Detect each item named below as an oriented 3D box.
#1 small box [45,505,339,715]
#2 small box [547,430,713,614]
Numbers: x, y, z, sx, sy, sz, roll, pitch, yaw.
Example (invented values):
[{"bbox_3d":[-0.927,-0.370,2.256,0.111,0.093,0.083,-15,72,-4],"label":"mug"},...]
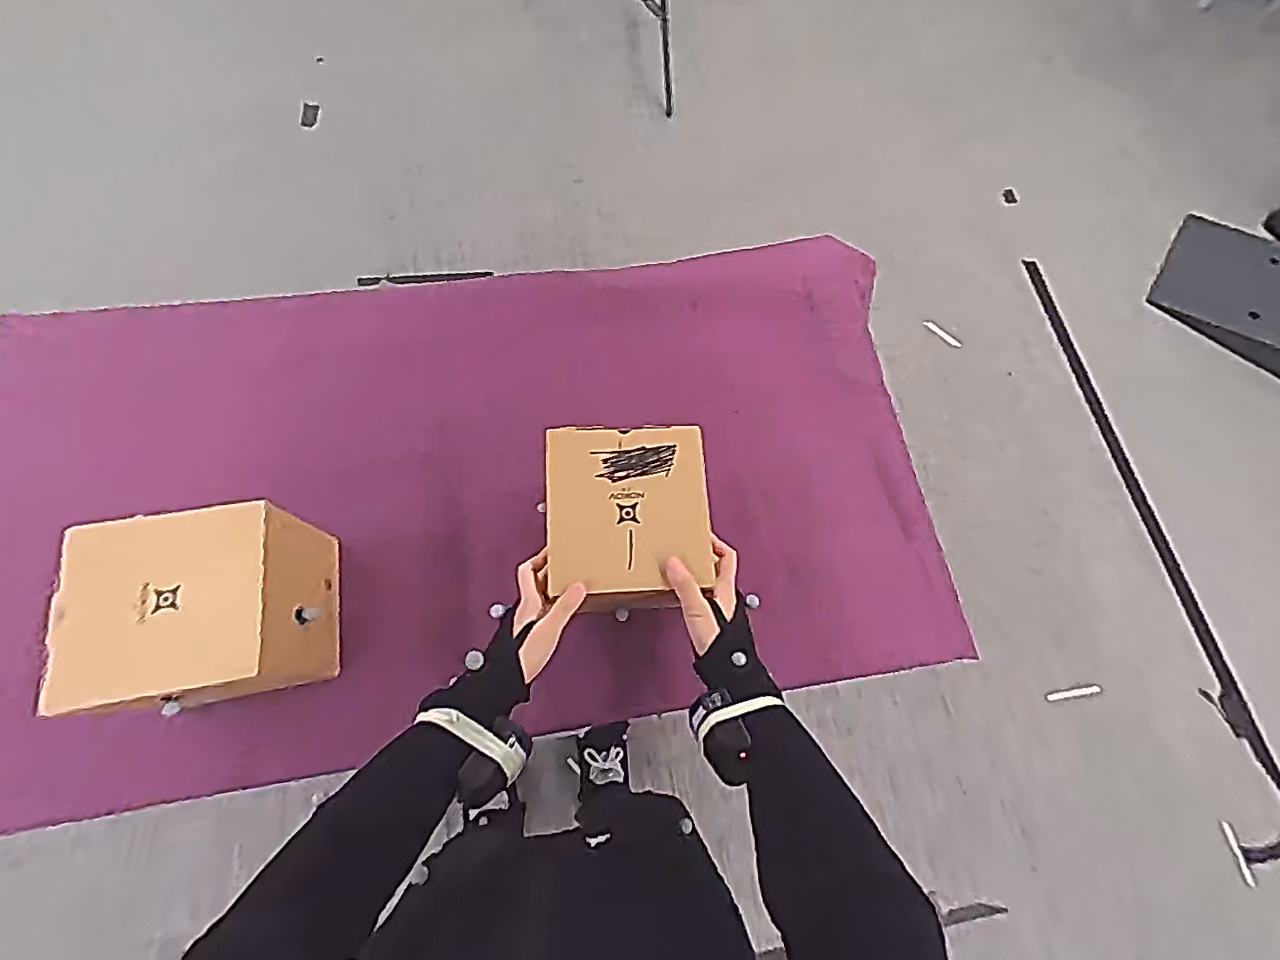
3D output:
[{"bbox_3d":[-0.437,0.136,0.565,0.179,0.176,0.168,-9,72,-7],"label":"small box"},{"bbox_3d":[-0.020,0.055,0.627,0.168,0.176,0.179,-2,72,-5],"label":"small box"}]
